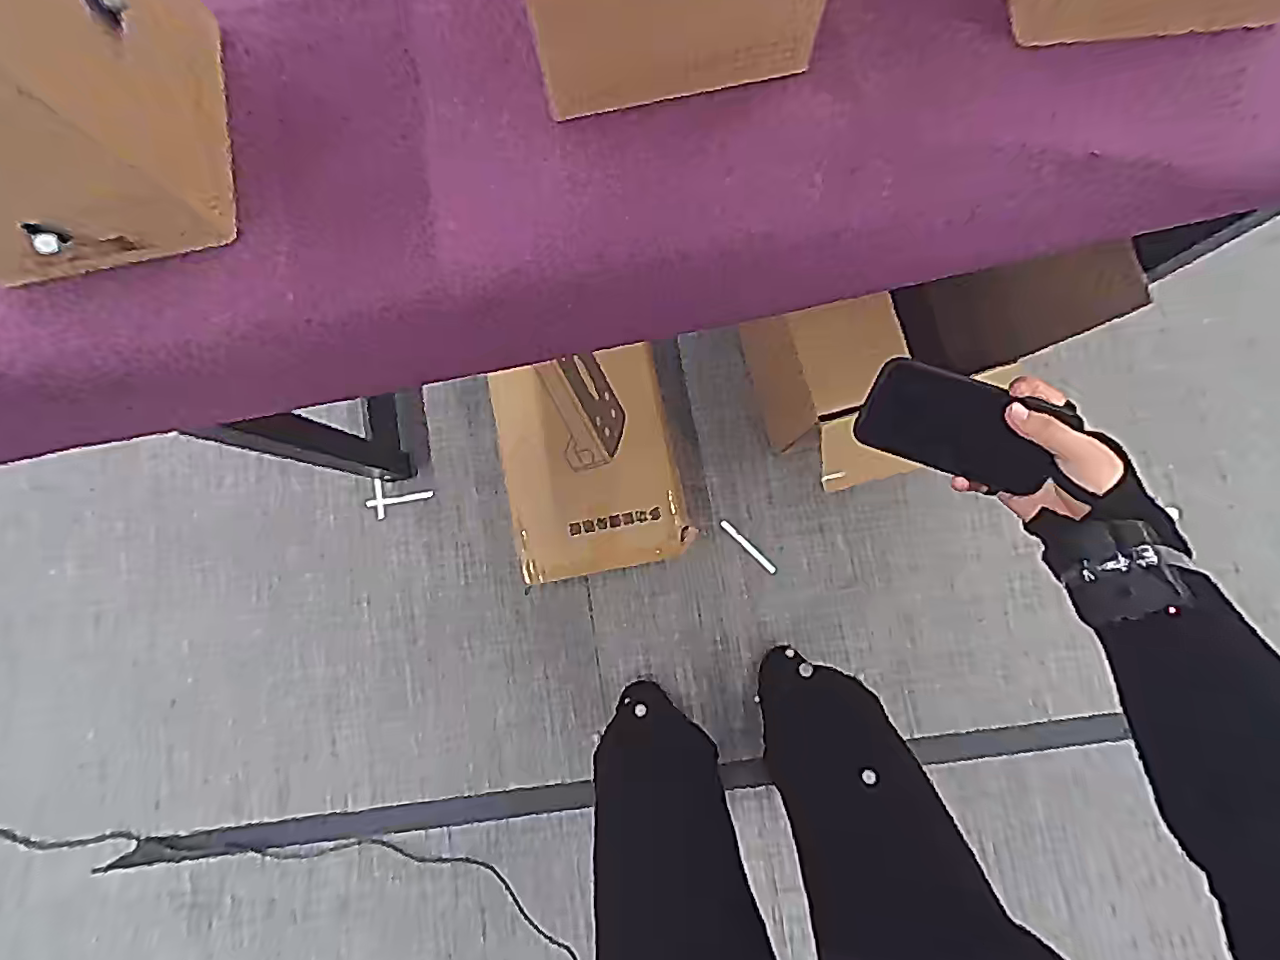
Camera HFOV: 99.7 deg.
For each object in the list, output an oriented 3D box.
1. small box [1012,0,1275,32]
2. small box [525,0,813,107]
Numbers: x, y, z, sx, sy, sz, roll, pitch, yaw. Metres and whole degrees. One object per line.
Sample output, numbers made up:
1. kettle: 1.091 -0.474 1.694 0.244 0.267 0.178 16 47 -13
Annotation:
1. small box: 0.326 -0.389 0.290 0.179 0.176 0.168 -4 83 1
2. small box: 0.010 -0.352 0.296 0.179 0.176 0.168 -11 80 1
